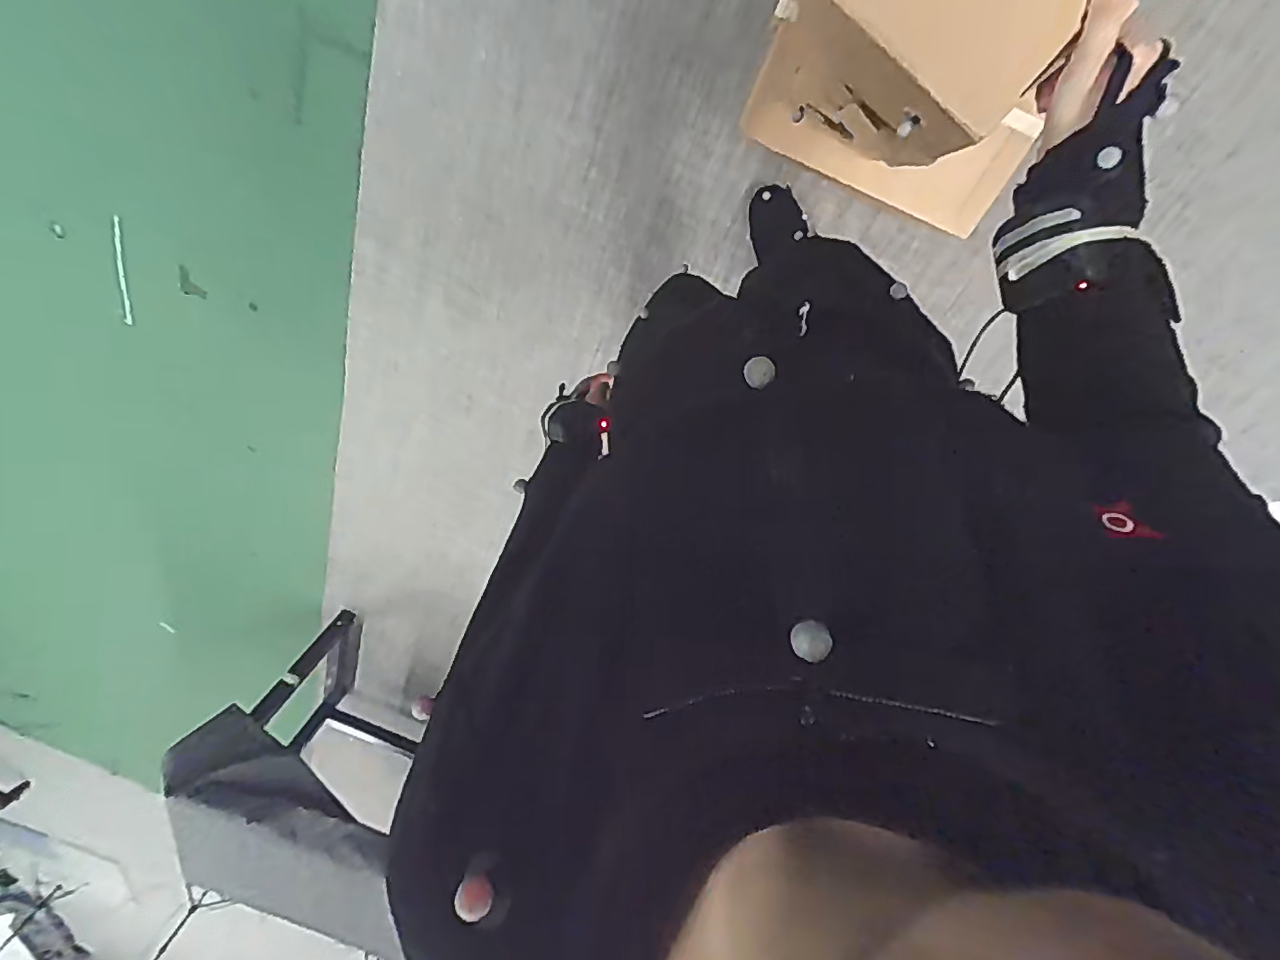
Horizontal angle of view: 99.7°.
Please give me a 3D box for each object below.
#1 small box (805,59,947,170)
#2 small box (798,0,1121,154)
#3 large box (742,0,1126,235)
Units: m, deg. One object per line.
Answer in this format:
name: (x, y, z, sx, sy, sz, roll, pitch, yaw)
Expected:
small box: (0.288, -0.451, 0.549, 0.168, 0.176, 0.179, 35, 121, -10)
small box: (0.240, -0.375, 0.406, 0.179, 0.176, 0.168, 38, 119, -5)
large box: (0.412, -0.649, 0.885, 0.408, 0.320, 0.320, 23, 123, -3)
